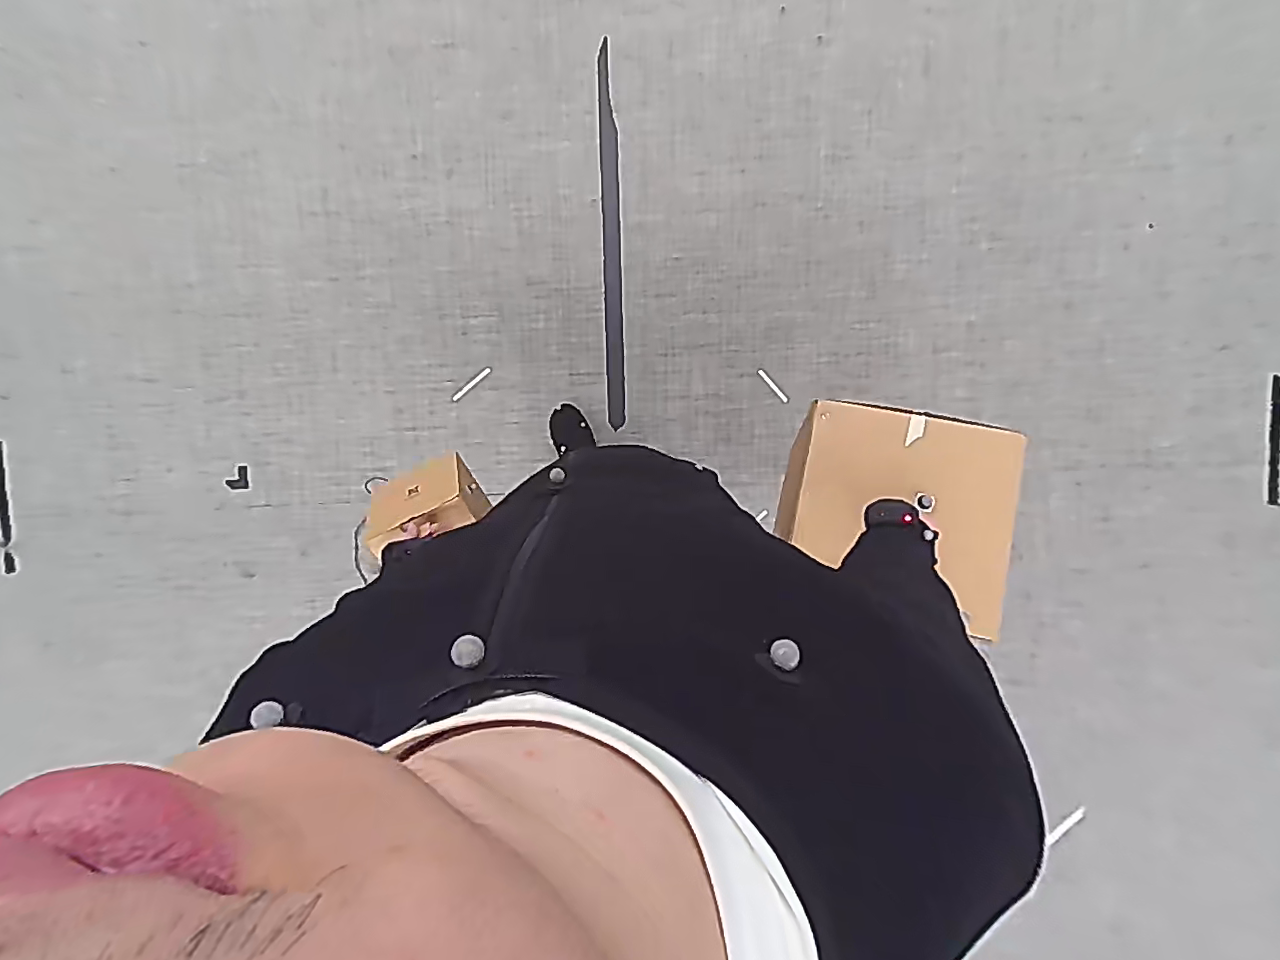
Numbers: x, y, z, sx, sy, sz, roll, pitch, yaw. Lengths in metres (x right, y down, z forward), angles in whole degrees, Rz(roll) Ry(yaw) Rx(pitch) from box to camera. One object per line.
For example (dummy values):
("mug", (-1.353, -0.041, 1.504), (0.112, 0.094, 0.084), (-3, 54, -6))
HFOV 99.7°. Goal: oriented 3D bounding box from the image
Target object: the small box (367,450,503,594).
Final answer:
("small box", (-0.363, 0.081, 0.977), (0.168, 0.179, 0.176), (-26, 125, -6))
